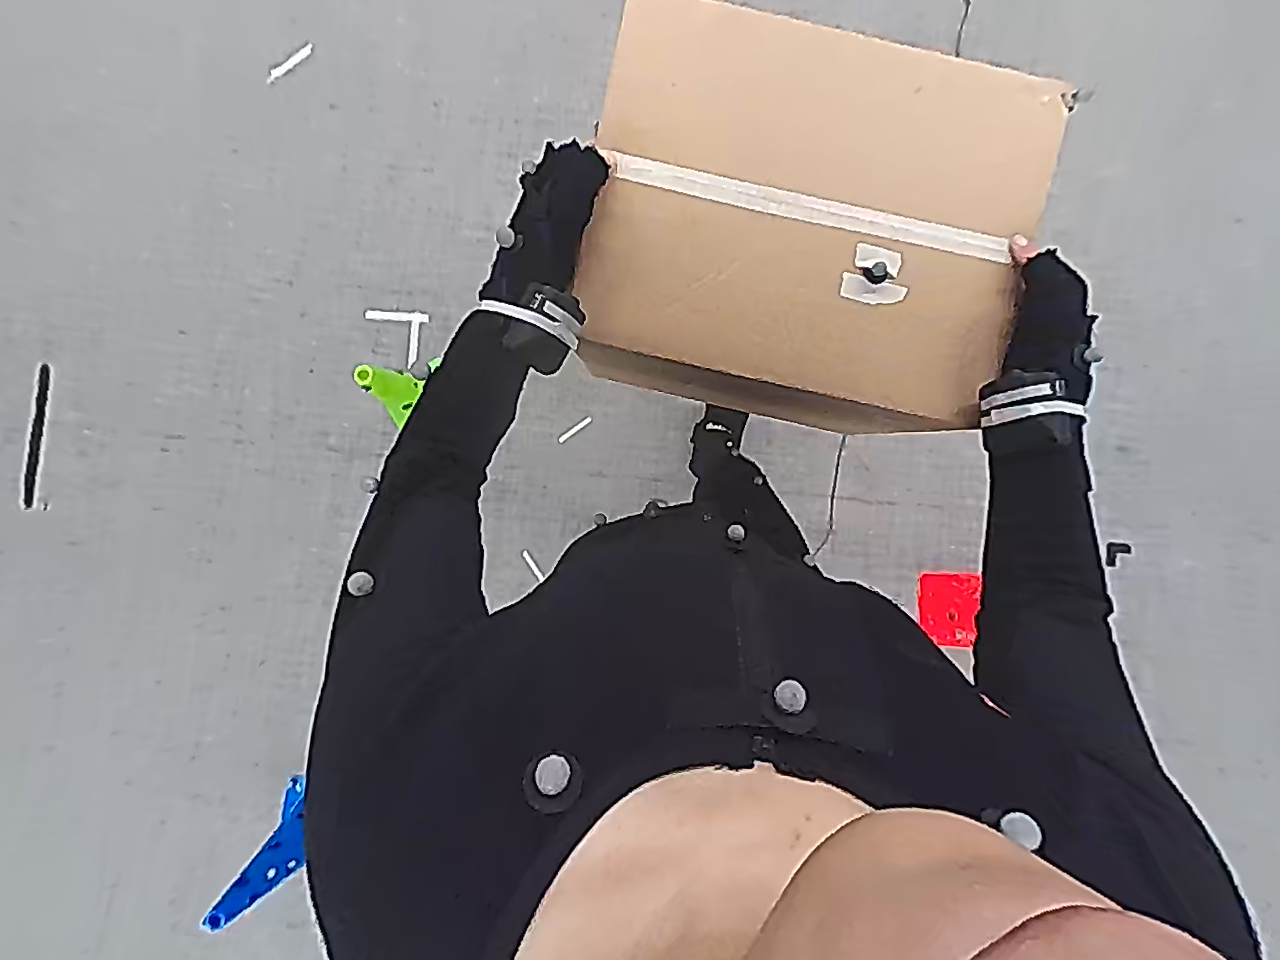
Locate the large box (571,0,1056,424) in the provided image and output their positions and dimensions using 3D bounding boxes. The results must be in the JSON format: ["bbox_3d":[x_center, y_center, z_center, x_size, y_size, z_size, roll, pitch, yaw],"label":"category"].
[{"bbox_3d":[0.153,-0.260,0.643,0.408,0.320,0.320,12,94,-1],"label":"large box"}]

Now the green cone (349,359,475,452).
[{"bbox_3d":[-0.579,-0.211,1.301,0.202,0.368,0.200,-32,87,0],"label":"green cone"}]

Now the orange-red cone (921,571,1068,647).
[{"bbox_3d":[0.858,0.335,1.285,0.198,0.360,0.199,3,86,-1],"label":"orange-red cone"}]
